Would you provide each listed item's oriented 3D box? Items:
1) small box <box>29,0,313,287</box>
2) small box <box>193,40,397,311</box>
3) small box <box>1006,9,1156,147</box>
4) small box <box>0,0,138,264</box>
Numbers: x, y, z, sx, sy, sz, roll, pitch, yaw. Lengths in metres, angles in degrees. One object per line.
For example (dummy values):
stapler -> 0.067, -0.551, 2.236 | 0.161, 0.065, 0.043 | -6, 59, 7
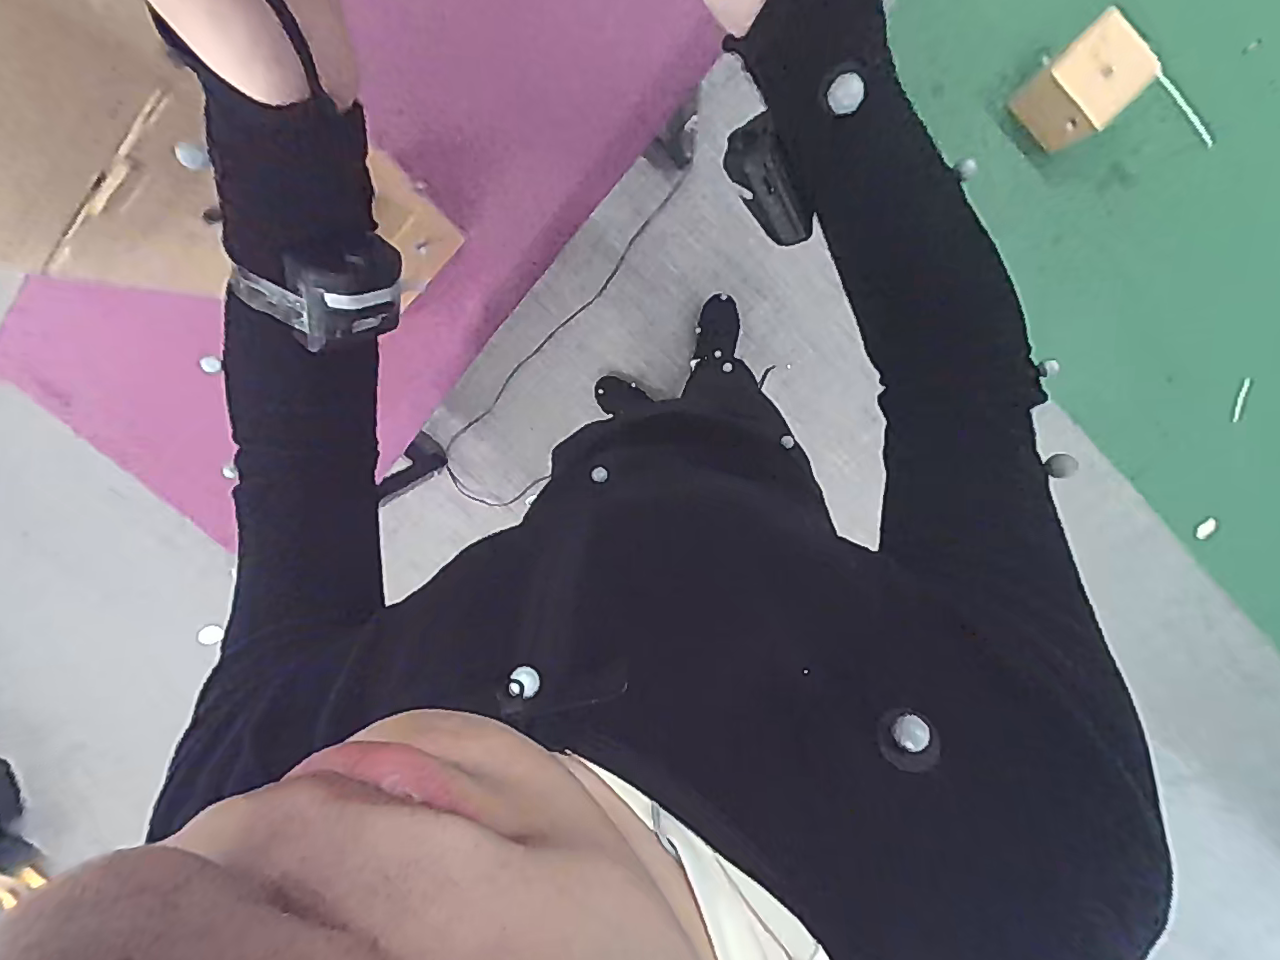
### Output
small box -> -0.421, -0.278, 0.441 | 0.168, 0.176, 0.179 | -43, 98, 12
small box -> -0.405, -0.310, 0.599 | 0.179, 0.176, 0.168 | -43, 97, 12
small box -> 1.017, -0.919, 1.264 | 0.179, 0.176, 0.168 | 42, 103, -7
small box -> -0.433, -0.242, 0.280 | 0.168, 0.176, 0.179 | 44, 101, -6
